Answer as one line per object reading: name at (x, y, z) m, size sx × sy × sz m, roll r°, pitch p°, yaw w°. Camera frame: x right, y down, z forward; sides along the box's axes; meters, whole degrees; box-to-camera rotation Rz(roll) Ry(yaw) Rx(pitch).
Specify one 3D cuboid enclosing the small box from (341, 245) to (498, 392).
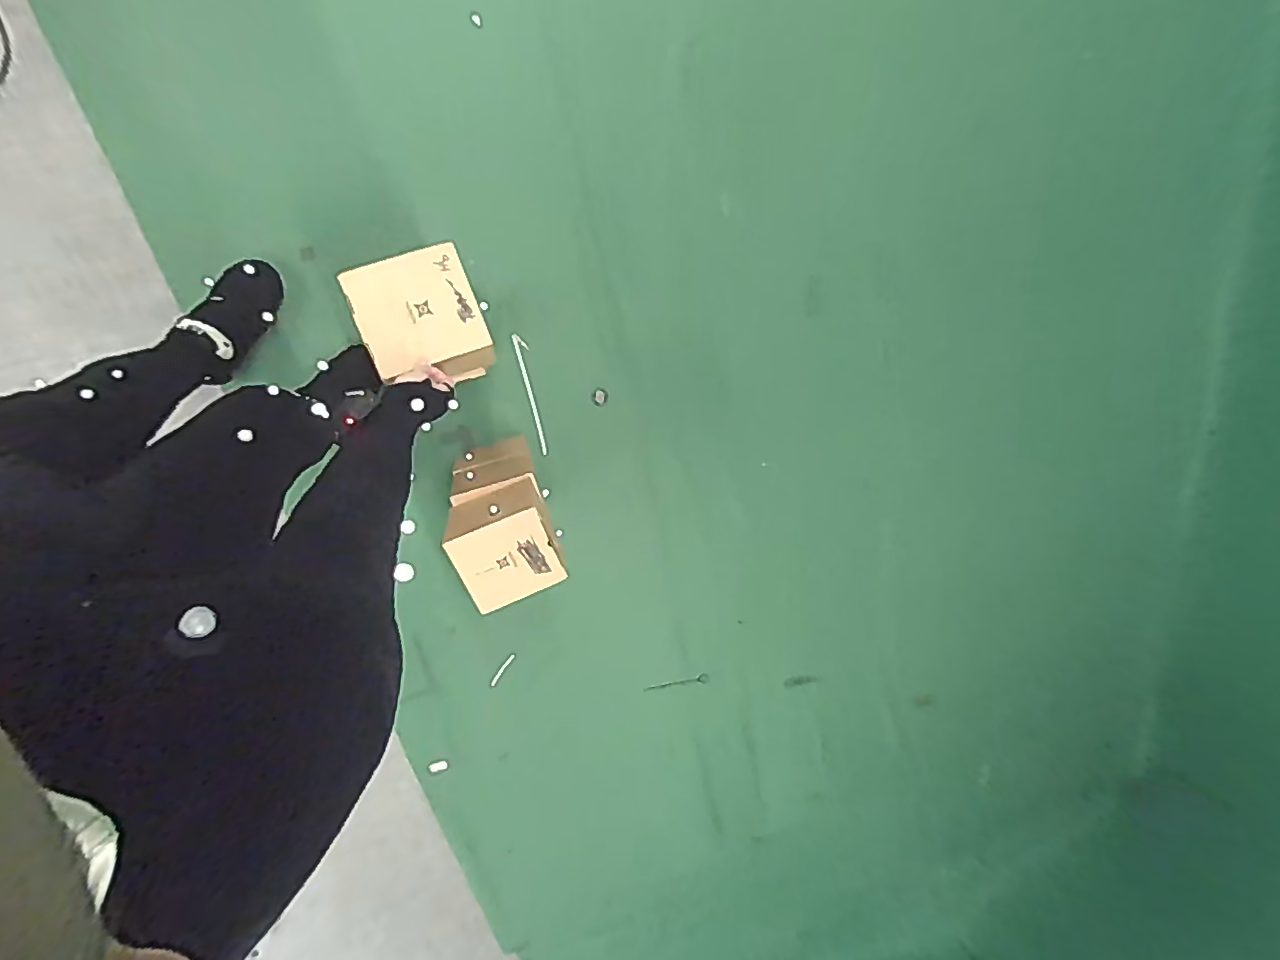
small box at (-0.345, -0.252, 0.887) m, size 0.179 × 0.176 × 0.168 m, roll -22°, pitch 97°, yaw -10°

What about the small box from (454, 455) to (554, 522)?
small box at (-0.294, 0.060, 1.201) m, size 0.179 × 0.176 × 0.168 m, roll -18°, pitch 113°, yaw -8°

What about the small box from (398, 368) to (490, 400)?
small box at (-0.405, -0.272, 1.061) m, size 0.168 × 0.176 × 0.179 m, roll -19°, pitch 111°, yaw -9°

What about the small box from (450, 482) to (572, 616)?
small box at (-0.250, 0.126, 1.057) m, size 0.179 × 0.176 × 0.168 m, roll -23°, pitch 113°, yaw -5°
